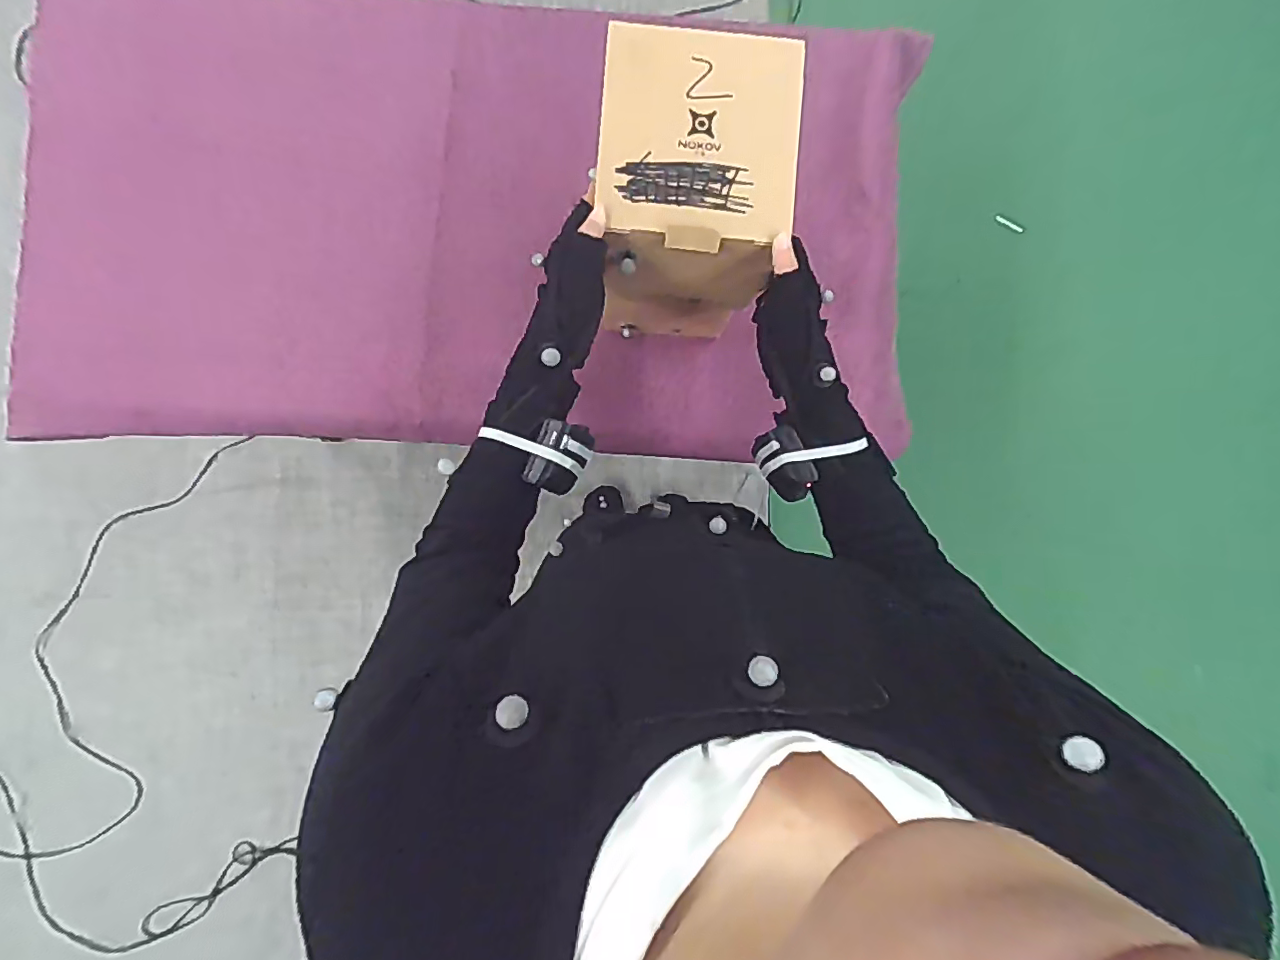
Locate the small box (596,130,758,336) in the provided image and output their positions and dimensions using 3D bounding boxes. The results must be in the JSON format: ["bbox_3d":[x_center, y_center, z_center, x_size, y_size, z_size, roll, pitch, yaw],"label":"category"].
[{"bbox_3d":[0.038,-0.293,0.681,0.168,0.176,0.179,7,89,-4],"label":"small box"}]
